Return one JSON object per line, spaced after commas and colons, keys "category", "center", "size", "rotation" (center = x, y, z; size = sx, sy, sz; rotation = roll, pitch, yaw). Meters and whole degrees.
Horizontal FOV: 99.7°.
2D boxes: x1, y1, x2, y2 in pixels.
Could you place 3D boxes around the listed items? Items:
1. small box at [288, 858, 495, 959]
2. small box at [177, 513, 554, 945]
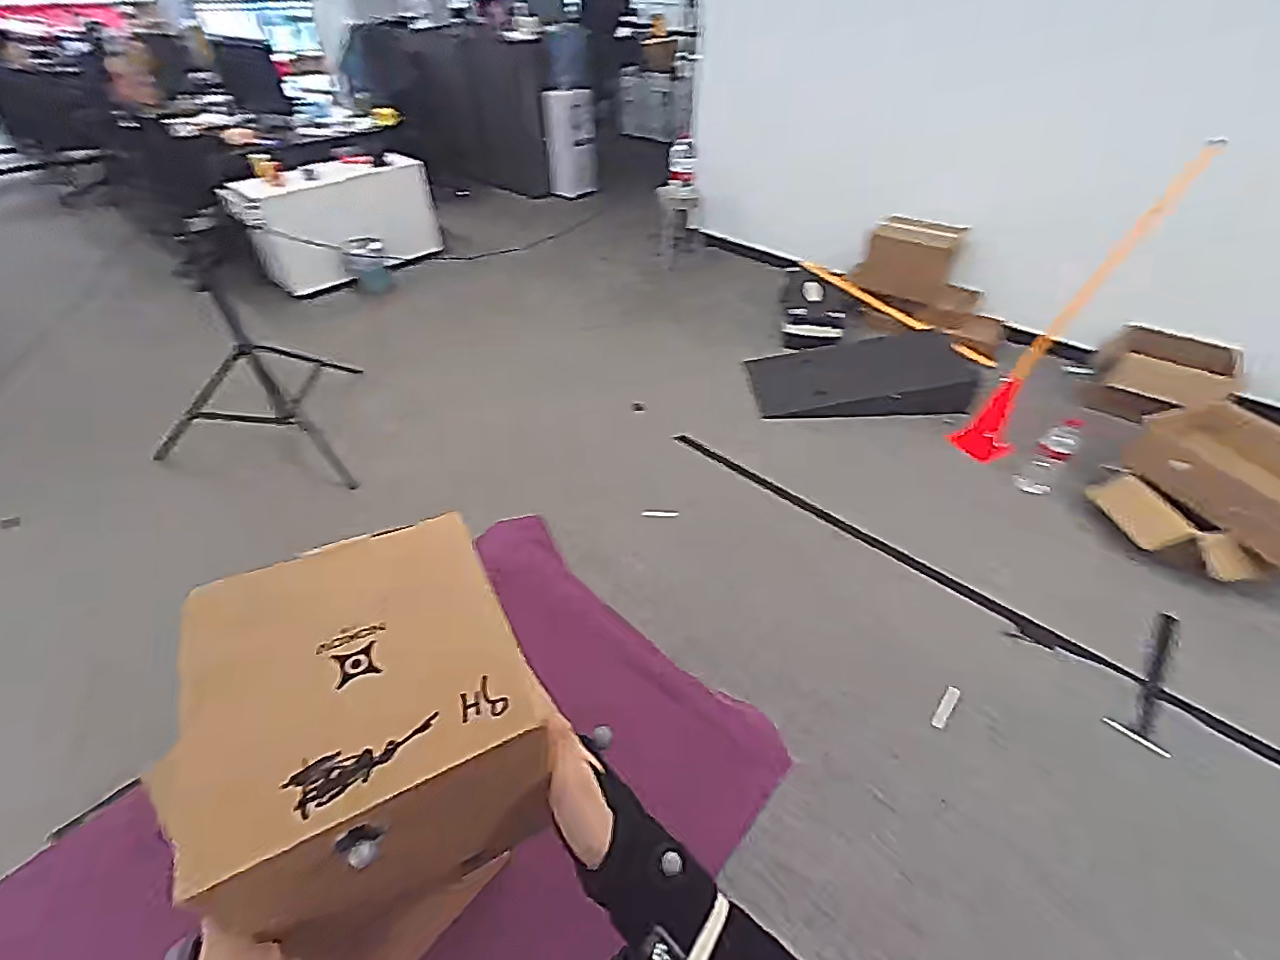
{"category": "small box", "center": [-0.278, 0.406, 0.600], "size": [0.168, 0.176, 0.179], "rotation": [30, 52, 29]}
{"category": "small box", "center": [-0.166, 0.157, 0.363], "size": [0.168, 0.176, 0.179], "rotation": [-18, 46, -23]}
